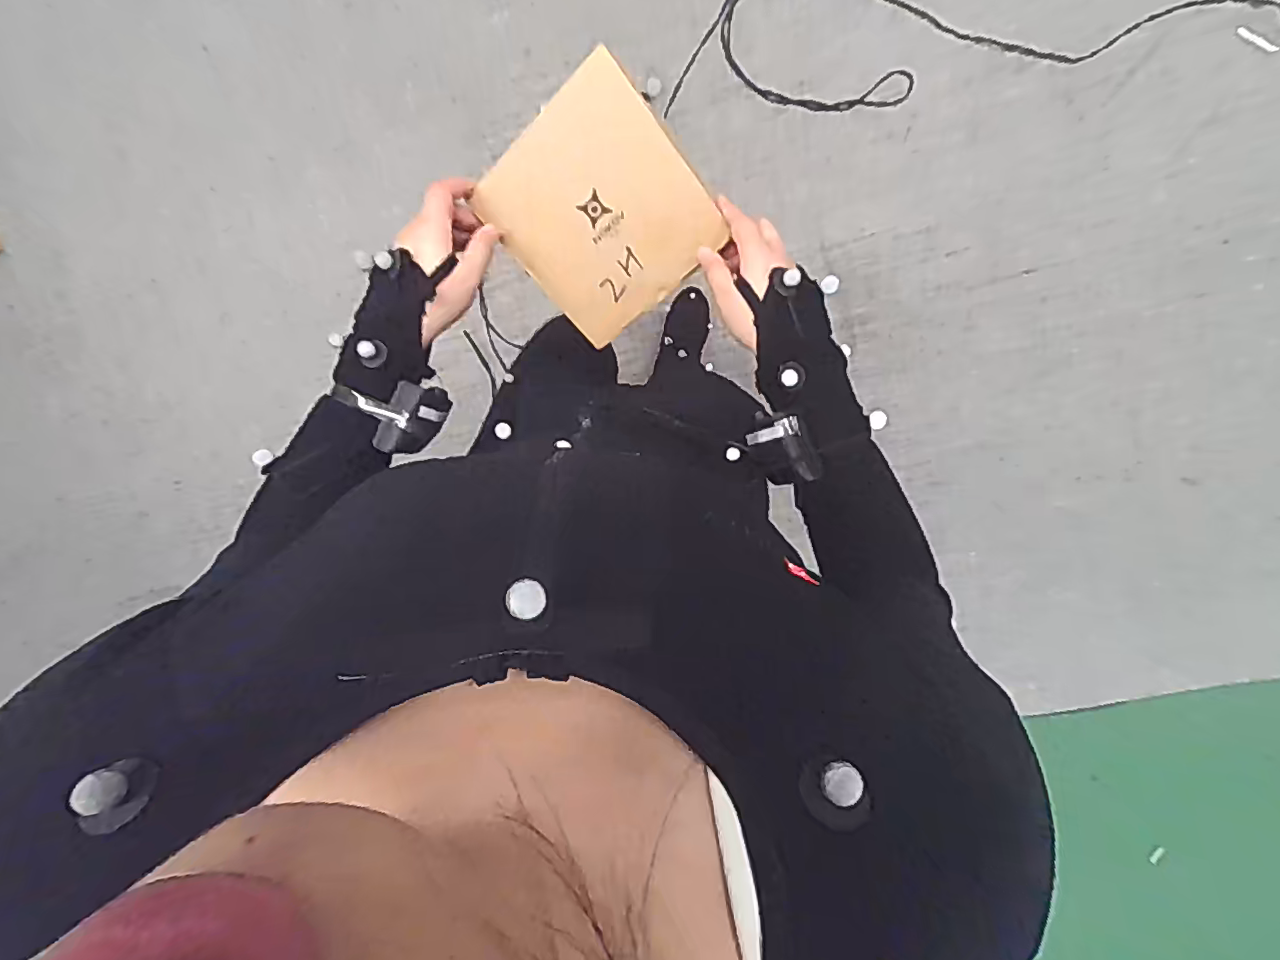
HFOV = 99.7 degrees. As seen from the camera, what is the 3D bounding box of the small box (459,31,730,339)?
[{"bbox_3d":[-0.033,-0.275,0.523,0.168,0.176,0.179,-33,116,25],"label":"small box"}]
